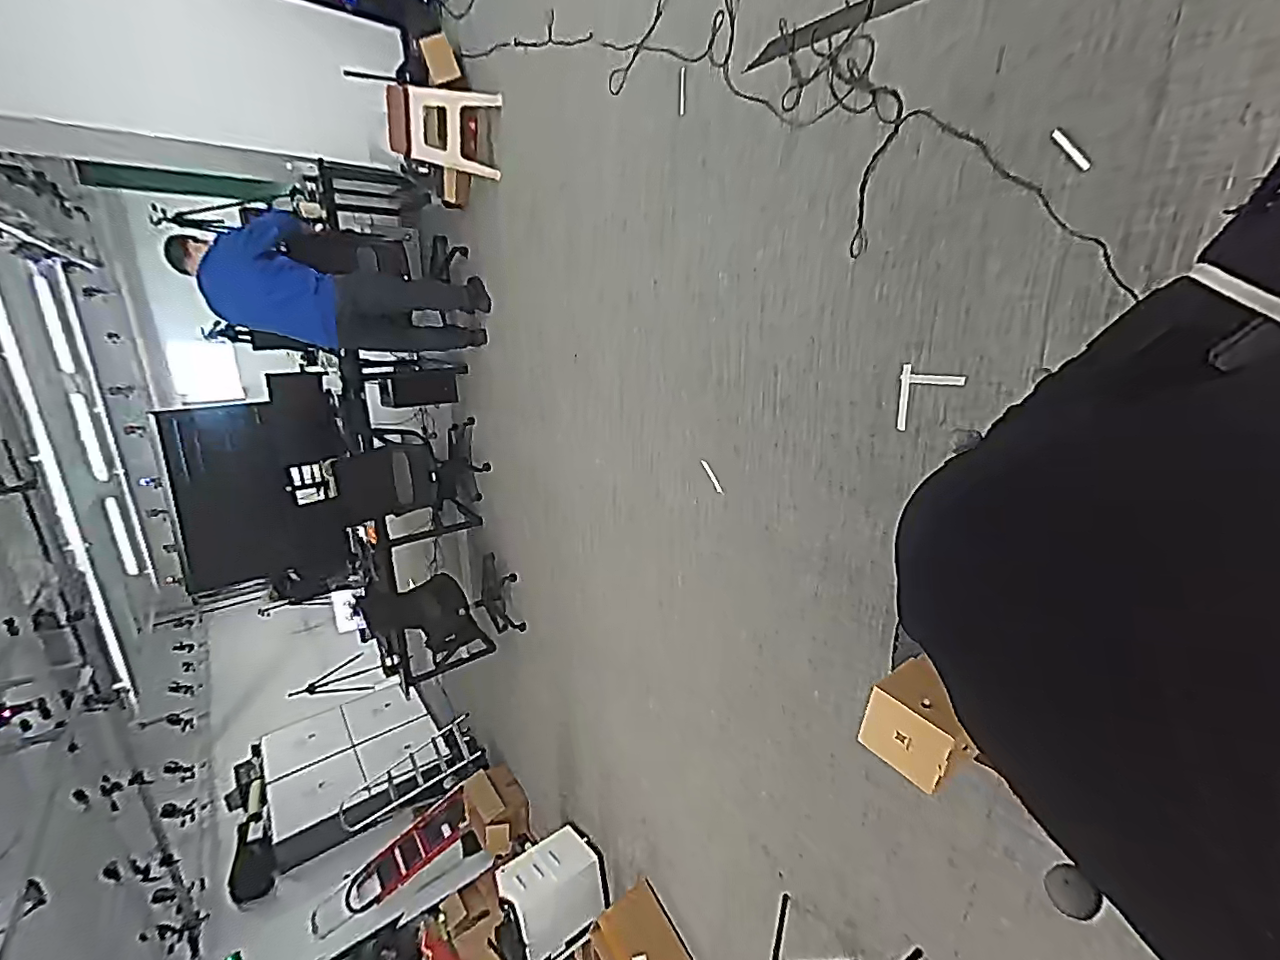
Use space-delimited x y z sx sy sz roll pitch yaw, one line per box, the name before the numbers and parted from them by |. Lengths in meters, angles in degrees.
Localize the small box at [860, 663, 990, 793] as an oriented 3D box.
small box | 0.623 0.528 1.186 0.179 0.176 0.168 29 123 44
